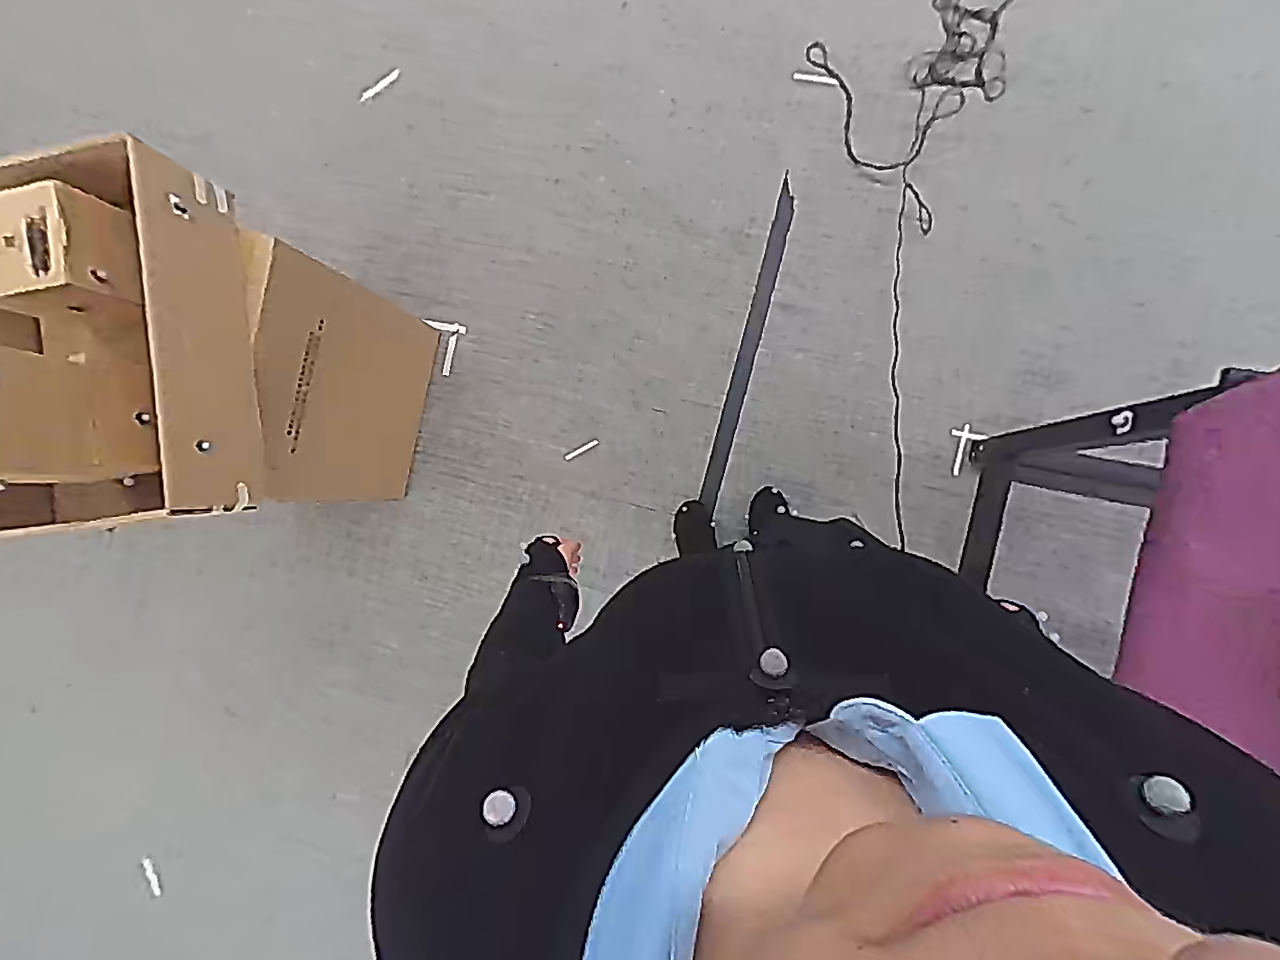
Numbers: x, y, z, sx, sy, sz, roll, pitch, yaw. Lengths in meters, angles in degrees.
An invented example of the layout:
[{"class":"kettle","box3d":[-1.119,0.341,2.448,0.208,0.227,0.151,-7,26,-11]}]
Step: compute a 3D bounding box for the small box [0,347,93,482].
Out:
[{"class":"small box","box3d":[-0.921,-0.090,0.752,0.168,0.176,0.179,-3,89,7]}]
